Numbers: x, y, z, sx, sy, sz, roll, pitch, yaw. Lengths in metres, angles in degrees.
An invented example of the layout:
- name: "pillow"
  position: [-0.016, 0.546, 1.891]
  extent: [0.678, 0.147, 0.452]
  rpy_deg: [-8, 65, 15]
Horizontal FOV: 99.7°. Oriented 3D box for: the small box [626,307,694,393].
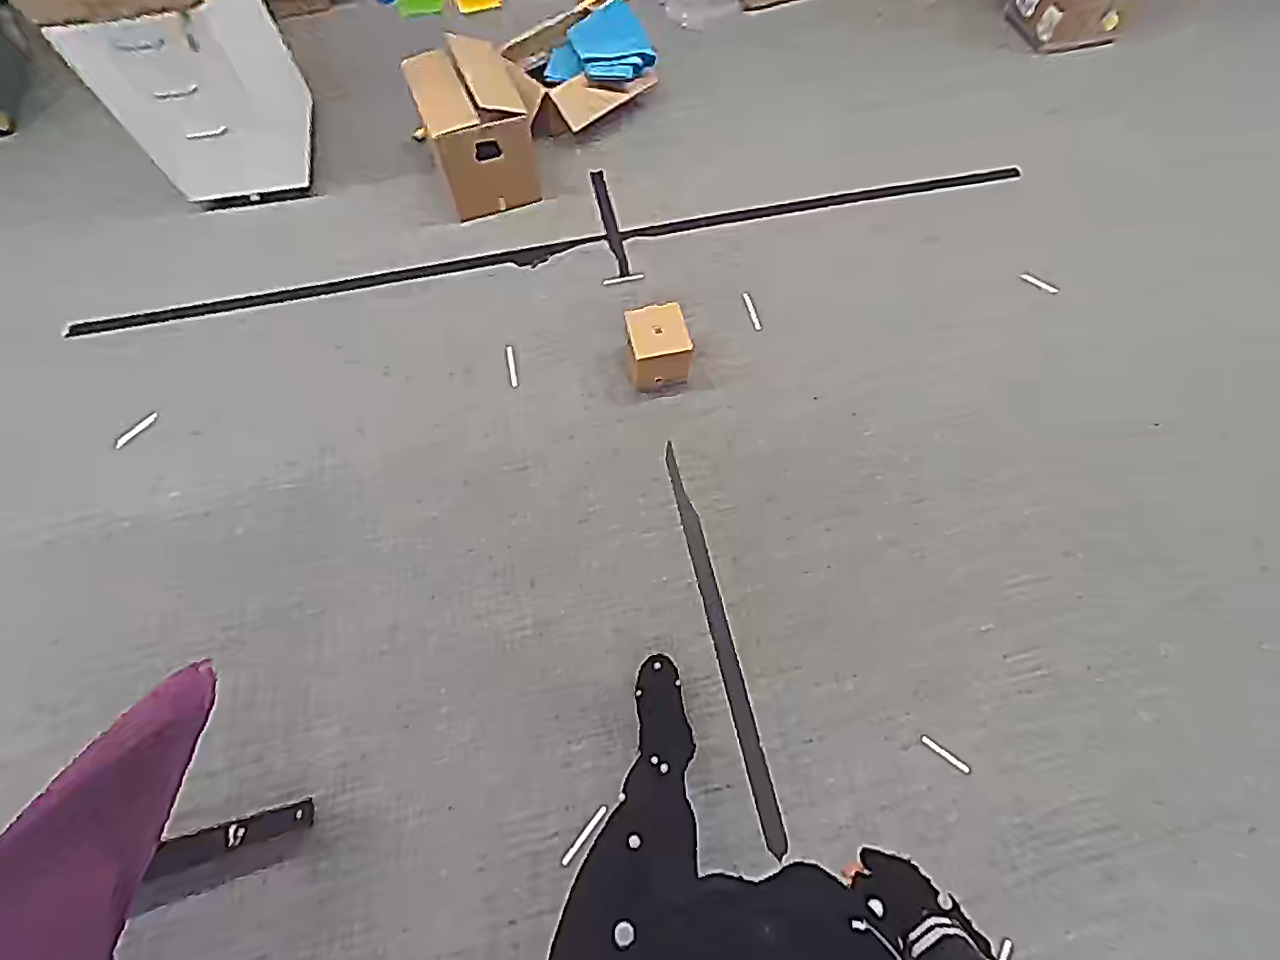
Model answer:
- name: "small box"
  position: [0.054, -0.388, 1.626]
  extent: [0.168, 0.176, 0.179]
  rpy_deg: [-12, 68, -5]
